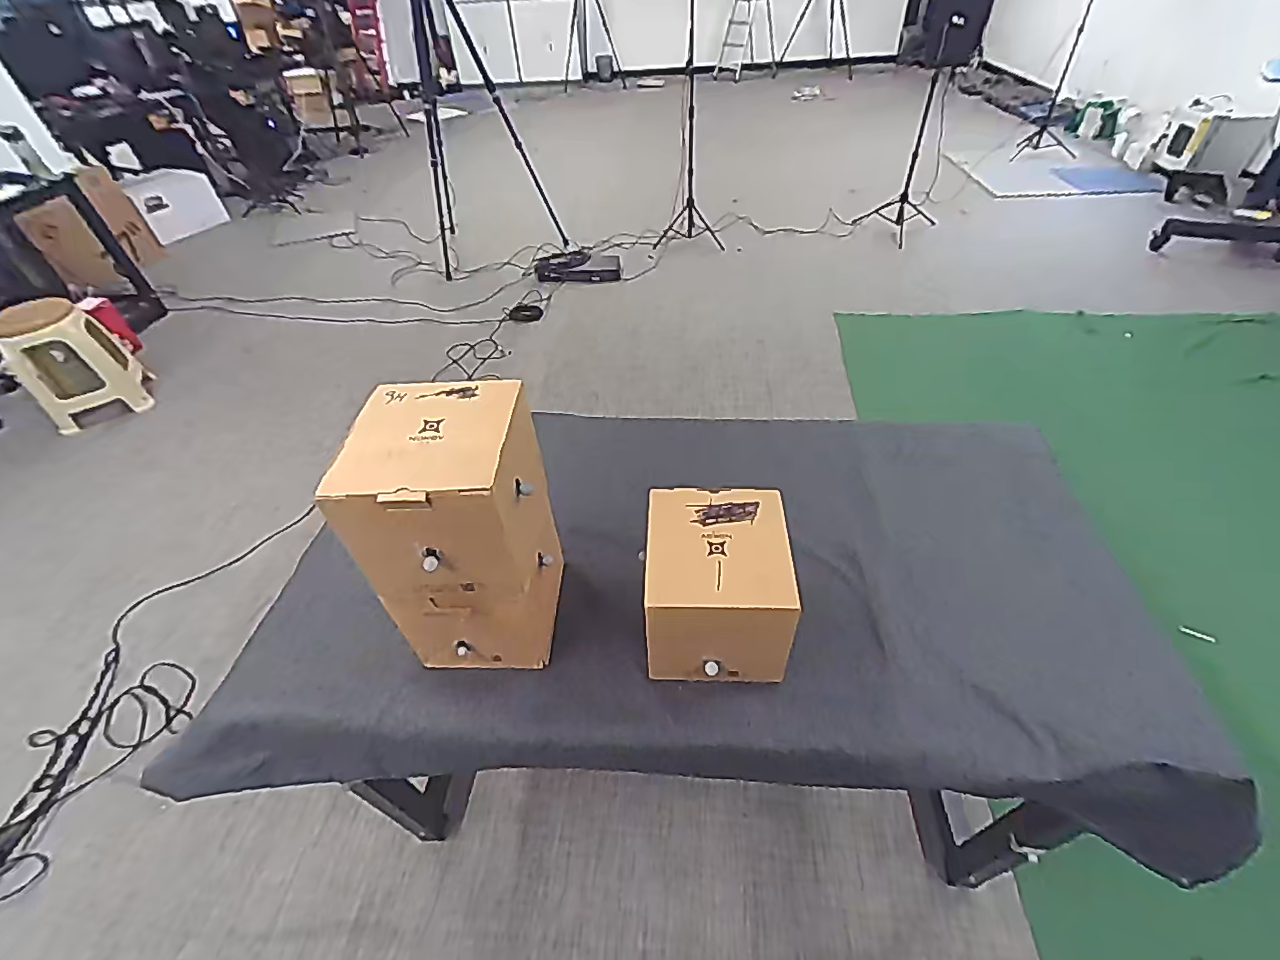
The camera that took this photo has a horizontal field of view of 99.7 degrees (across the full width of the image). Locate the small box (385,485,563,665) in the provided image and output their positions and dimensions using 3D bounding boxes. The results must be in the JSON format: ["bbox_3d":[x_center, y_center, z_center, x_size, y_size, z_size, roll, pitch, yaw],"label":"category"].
[{"bbox_3d":[-0.201,0.123,0.716,0.168,0.176,0.179,-1,45,3],"label":"small box"}]

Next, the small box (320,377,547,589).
[{"bbox_3d":[-0.204,0.008,0.599,0.168,0.176,0.179,-2,45,2],"label":"small box"}]

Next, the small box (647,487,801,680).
[{"bbox_3d":[0.097,0.128,0.683,0.168,0.176,0.179,0,44,5],"label":"small box"}]
